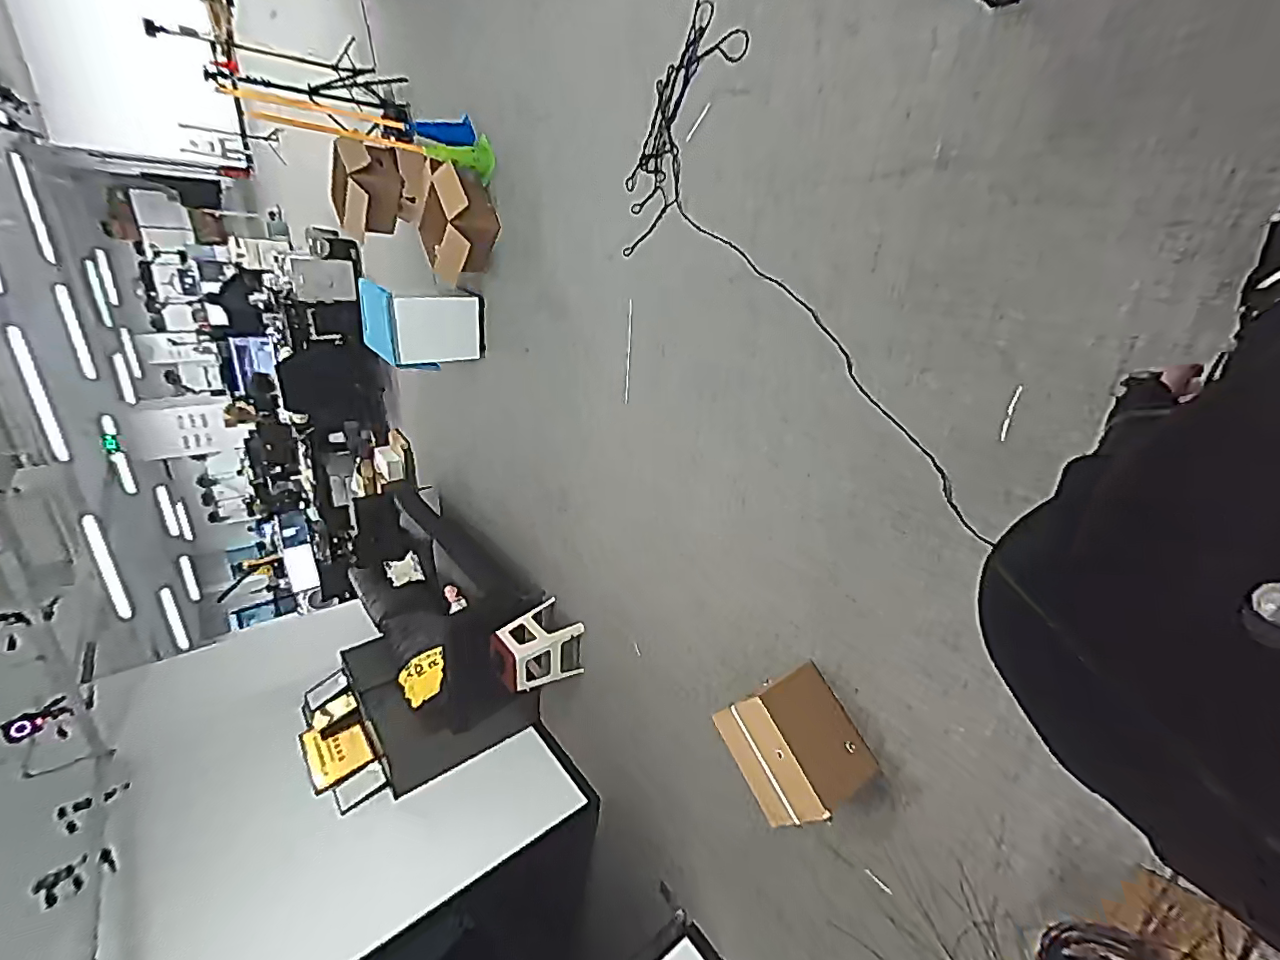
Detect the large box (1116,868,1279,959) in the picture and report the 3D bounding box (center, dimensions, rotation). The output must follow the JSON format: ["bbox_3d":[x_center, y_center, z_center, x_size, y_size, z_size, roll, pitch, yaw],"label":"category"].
[{"bbox_3d":[1.252,1.130,1.106,0.408,0.320,0.320,10,111,49],"label":"large box"}]
